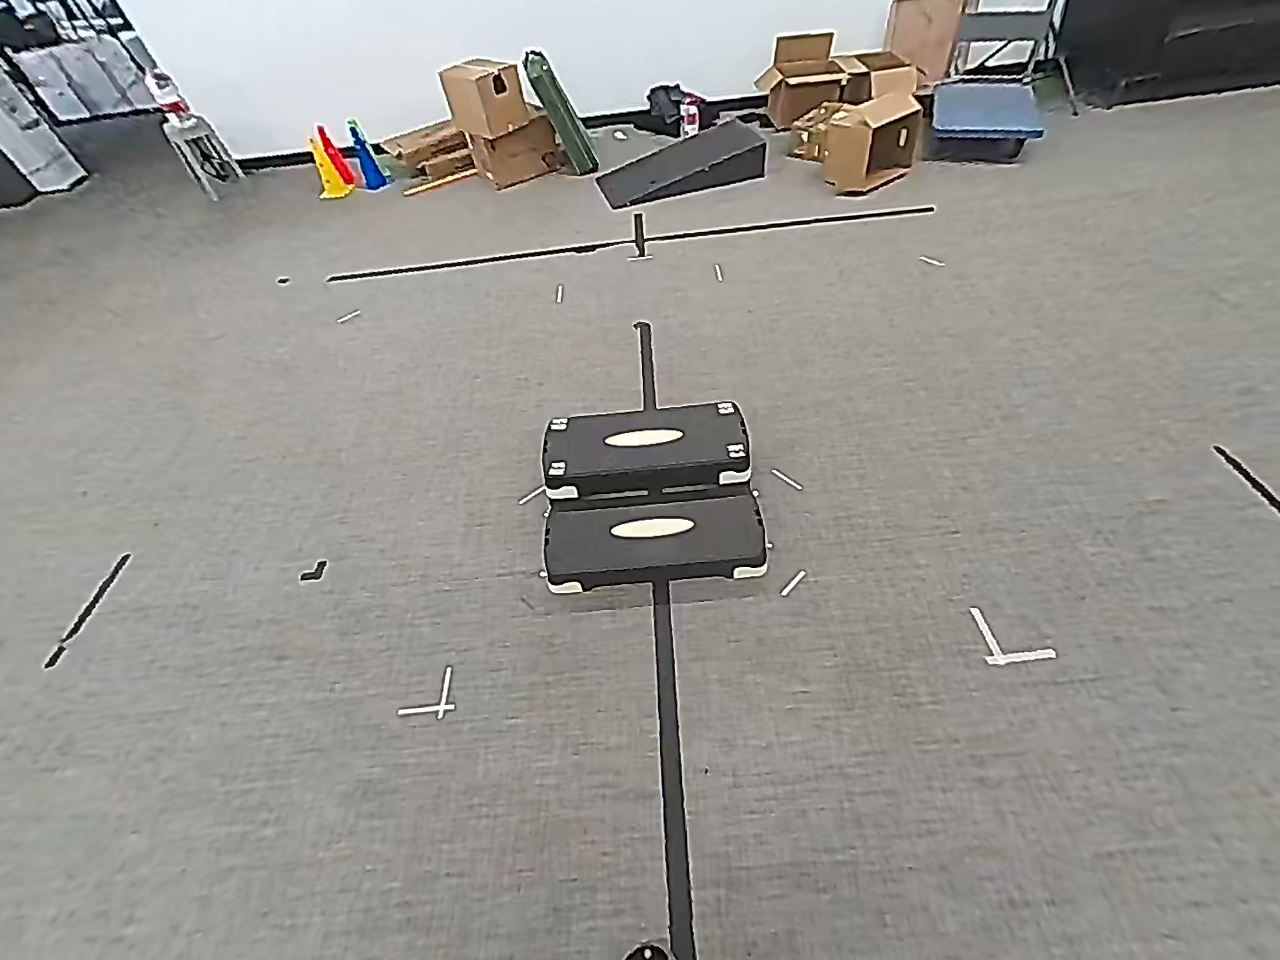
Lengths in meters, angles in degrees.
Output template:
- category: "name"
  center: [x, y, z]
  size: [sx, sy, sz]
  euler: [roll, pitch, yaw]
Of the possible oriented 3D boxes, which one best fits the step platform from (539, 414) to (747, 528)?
- category: "step platform"
  center: [0.009, -0.035, 1.809]
  size: [0.684, 0.204, 0.286]
  euler: [-6, 50, 1]
